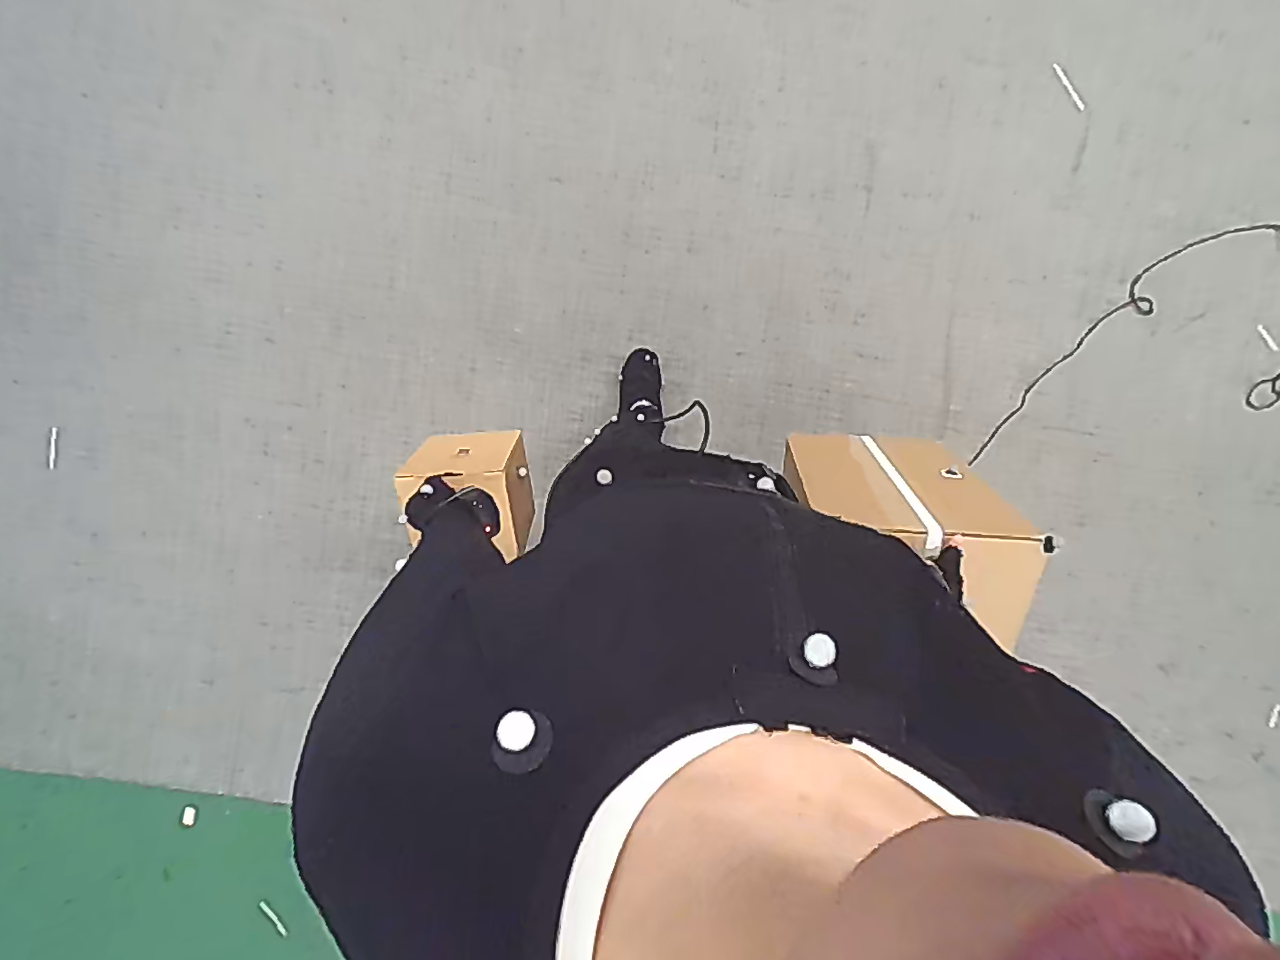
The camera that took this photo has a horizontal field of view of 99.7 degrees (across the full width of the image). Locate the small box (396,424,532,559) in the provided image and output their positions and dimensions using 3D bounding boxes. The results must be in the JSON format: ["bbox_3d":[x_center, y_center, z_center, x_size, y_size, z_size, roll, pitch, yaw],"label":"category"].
[{"bbox_3d":[-0.282,0.016,0.912,0.168,0.179,0.176,-4,116,0],"label":"small box"}]
